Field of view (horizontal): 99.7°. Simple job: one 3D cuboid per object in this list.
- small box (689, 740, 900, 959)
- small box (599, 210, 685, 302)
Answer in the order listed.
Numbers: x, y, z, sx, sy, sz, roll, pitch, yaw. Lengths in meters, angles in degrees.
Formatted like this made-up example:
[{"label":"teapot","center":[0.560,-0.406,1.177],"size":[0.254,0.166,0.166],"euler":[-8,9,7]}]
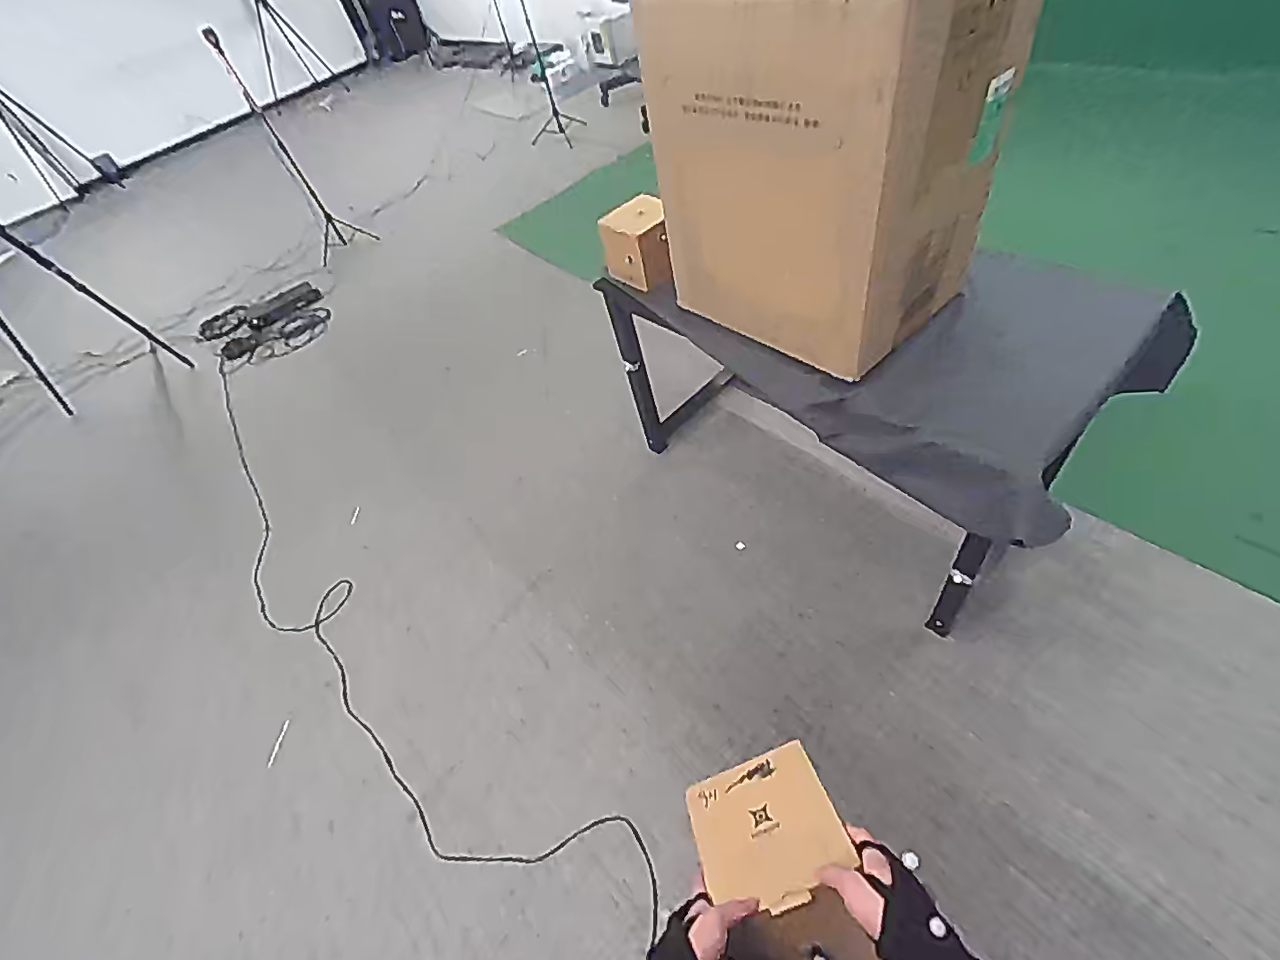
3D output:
[{"label":"small box","center":[0.178,0.466,0.649],"size":[0.168,0.176,0.179],"euler":[-25,18,1]},{"label":"small box","center":[0.014,-0.636,1.541],"size":[0.179,0.176,0.168],"euler":[-40,54,-22]}]
